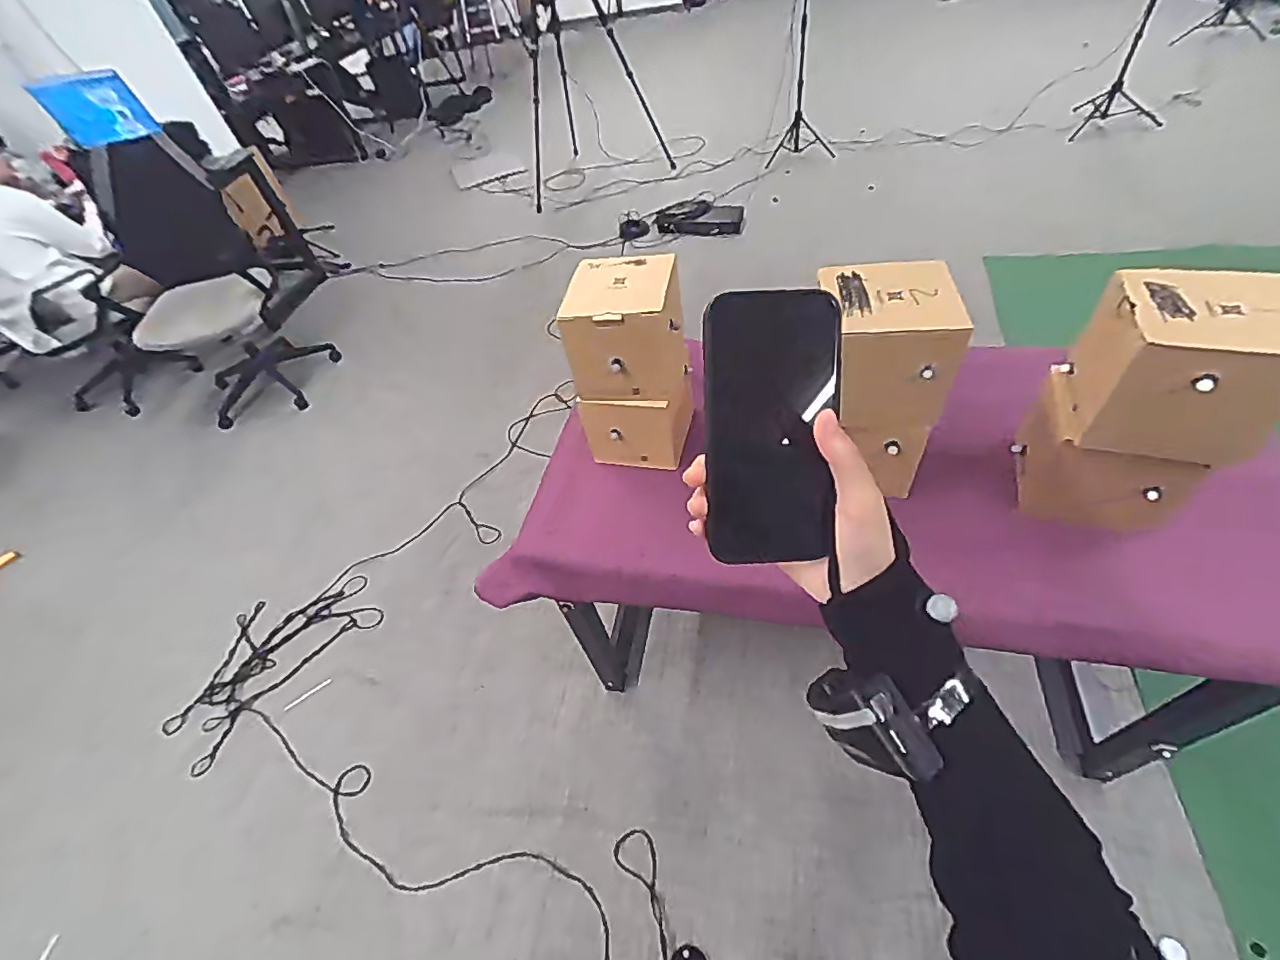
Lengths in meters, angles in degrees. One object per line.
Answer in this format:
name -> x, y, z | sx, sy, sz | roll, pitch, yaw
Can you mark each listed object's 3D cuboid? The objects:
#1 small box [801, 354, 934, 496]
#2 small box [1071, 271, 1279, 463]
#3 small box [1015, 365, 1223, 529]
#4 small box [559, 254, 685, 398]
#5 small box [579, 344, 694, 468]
small box -> 0.373, -0.090, 0.911 | 0.179, 0.176, 0.168 | 5, 51, 16
small box -> 0.676, -0.141, 0.677 | 0.179, 0.176, 0.168 | 11, 52, 19
small box -> 0.696, -0.047, 0.811 | 0.179, 0.176, 0.168 | 11, 52, 20
small box -> -0.018, -0.254, 0.912 | 0.168, 0.176, 0.179 | 2, 51, 12
small box -> 0.004, -0.142, 1.030 | 0.168, 0.176, 0.179 | 6, 51, 16
